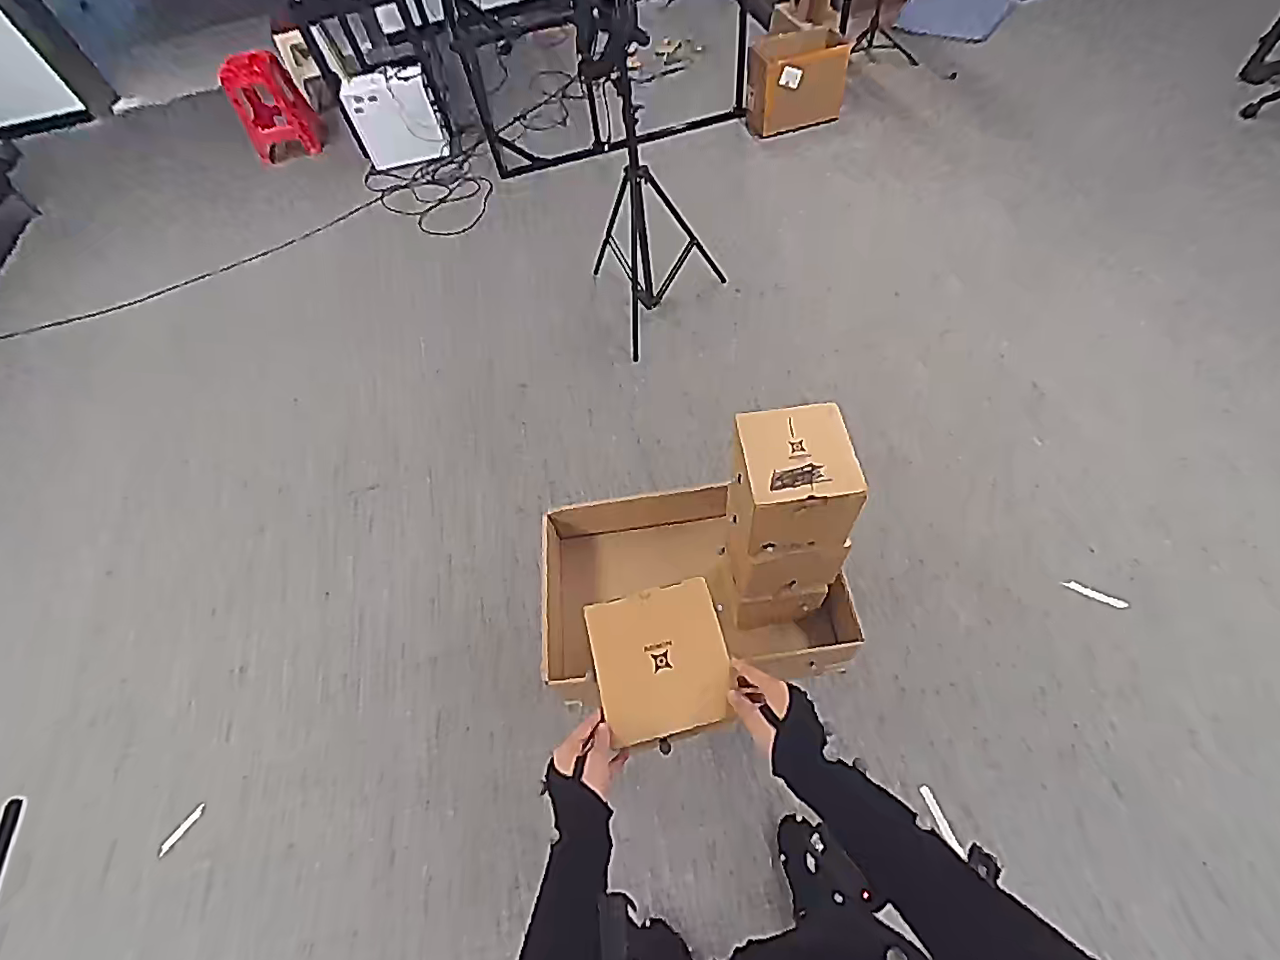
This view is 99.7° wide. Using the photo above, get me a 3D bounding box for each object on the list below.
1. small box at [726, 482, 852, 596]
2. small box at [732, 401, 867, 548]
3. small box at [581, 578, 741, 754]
[{"bbox_3d":[0.265,0.101,1.007,0.179,0.176,0.168,-10,57,0],"label":"small box"},{"bbox_3d":[0.245,0.000,0.878,0.168,0.176,0.179,-7,56,3],"label":"small box"},{"bbox_3d":[0.029,0.256,0.728,0.168,0.176,0.179,-14,60,-3],"label":"small box"}]
